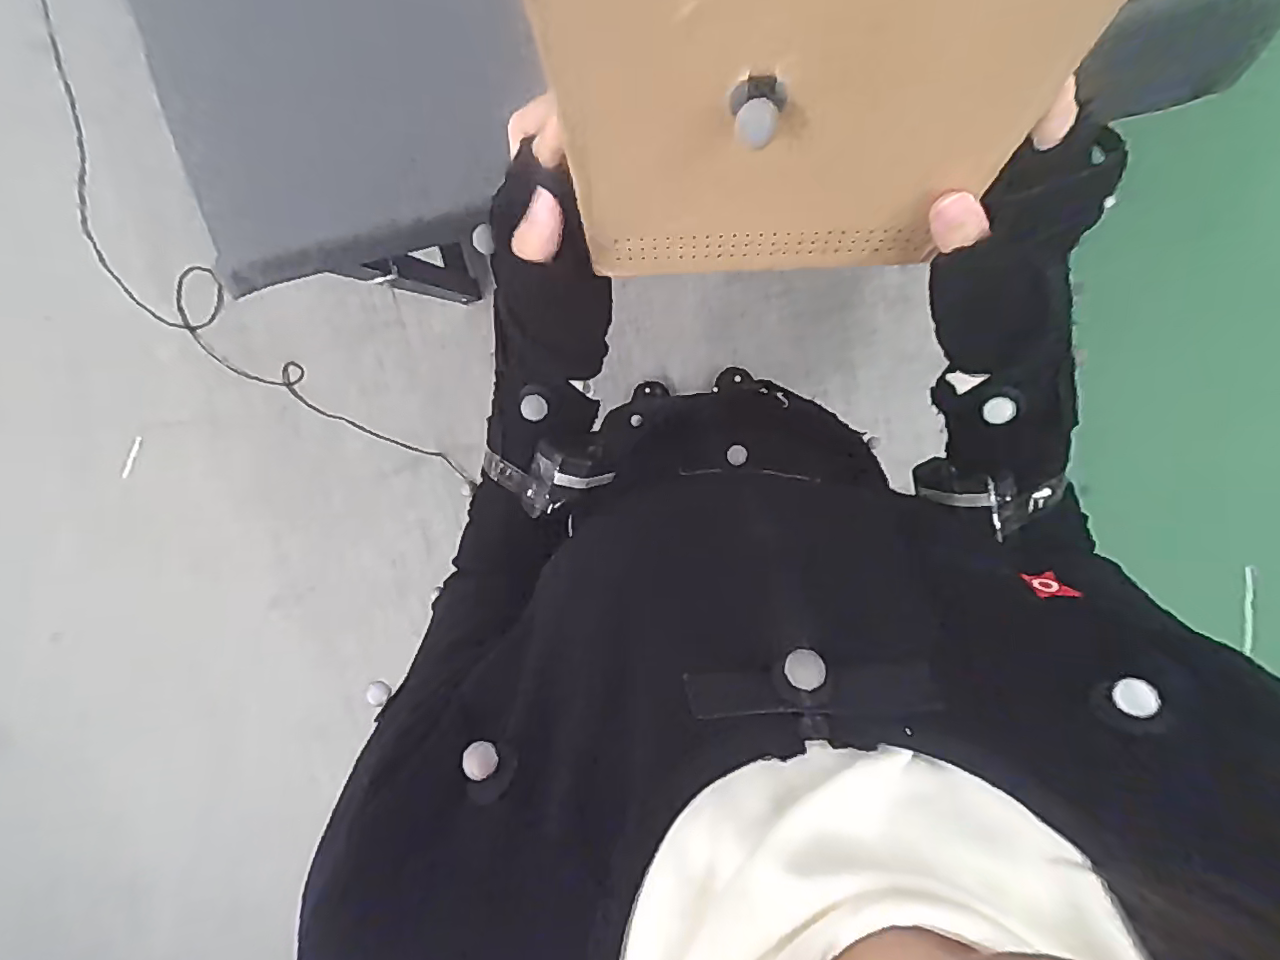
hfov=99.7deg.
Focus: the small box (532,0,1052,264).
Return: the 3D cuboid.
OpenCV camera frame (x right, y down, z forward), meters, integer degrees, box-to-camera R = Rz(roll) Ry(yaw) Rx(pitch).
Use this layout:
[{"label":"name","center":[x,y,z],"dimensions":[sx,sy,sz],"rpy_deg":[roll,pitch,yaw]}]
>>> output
[{"label":"small box","center":[0.053,-0.211,0.227],"dimensions":[0.179,0.176,0.168],"rpy_deg":[-1,78,5]}]
